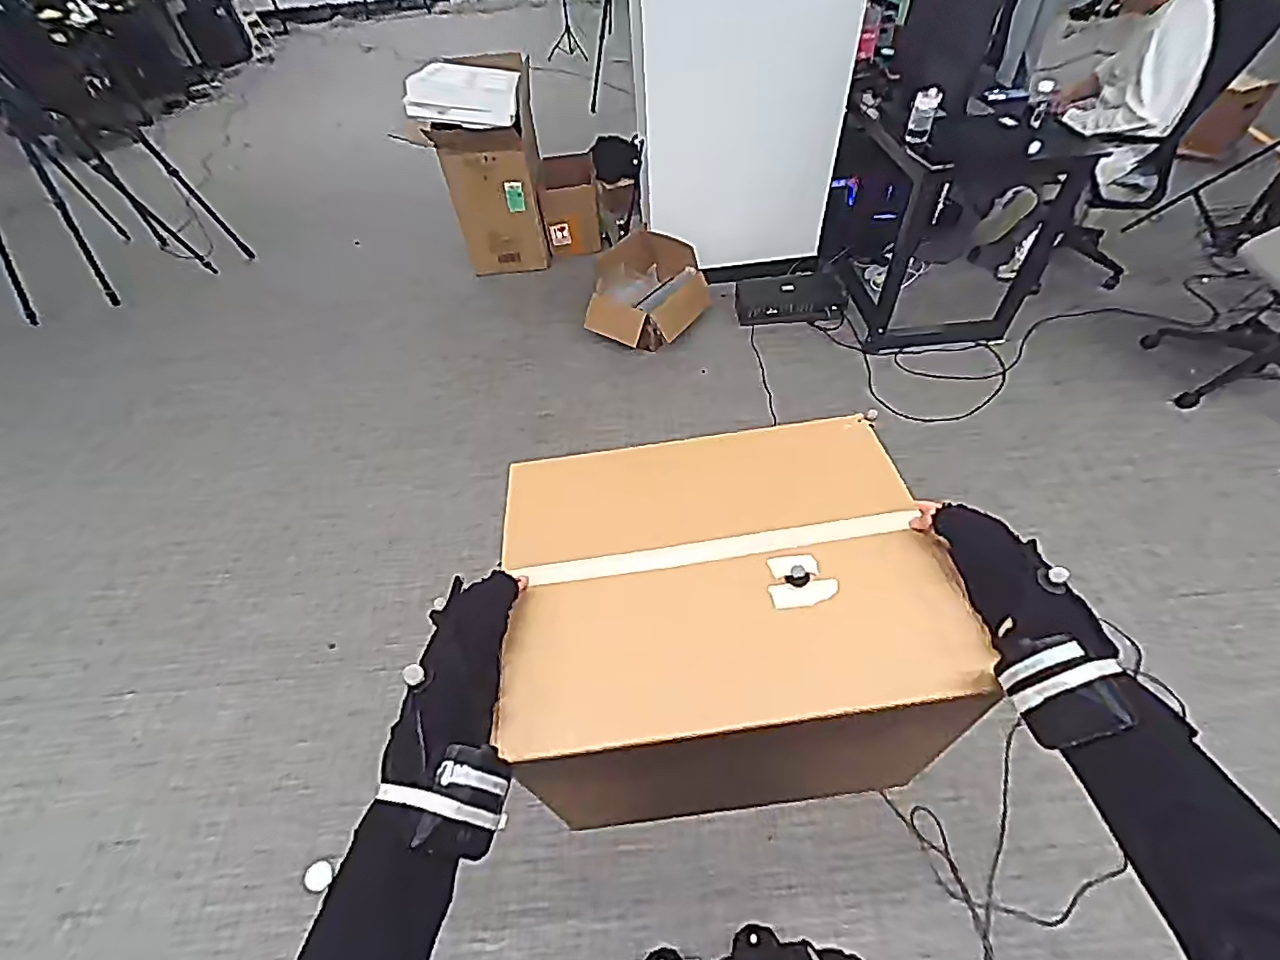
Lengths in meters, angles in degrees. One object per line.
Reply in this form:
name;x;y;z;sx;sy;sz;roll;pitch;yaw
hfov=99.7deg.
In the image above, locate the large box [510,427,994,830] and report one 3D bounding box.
large box;0.086;0.178;0.638;0.408;0.320;0.320;-8;48;0
